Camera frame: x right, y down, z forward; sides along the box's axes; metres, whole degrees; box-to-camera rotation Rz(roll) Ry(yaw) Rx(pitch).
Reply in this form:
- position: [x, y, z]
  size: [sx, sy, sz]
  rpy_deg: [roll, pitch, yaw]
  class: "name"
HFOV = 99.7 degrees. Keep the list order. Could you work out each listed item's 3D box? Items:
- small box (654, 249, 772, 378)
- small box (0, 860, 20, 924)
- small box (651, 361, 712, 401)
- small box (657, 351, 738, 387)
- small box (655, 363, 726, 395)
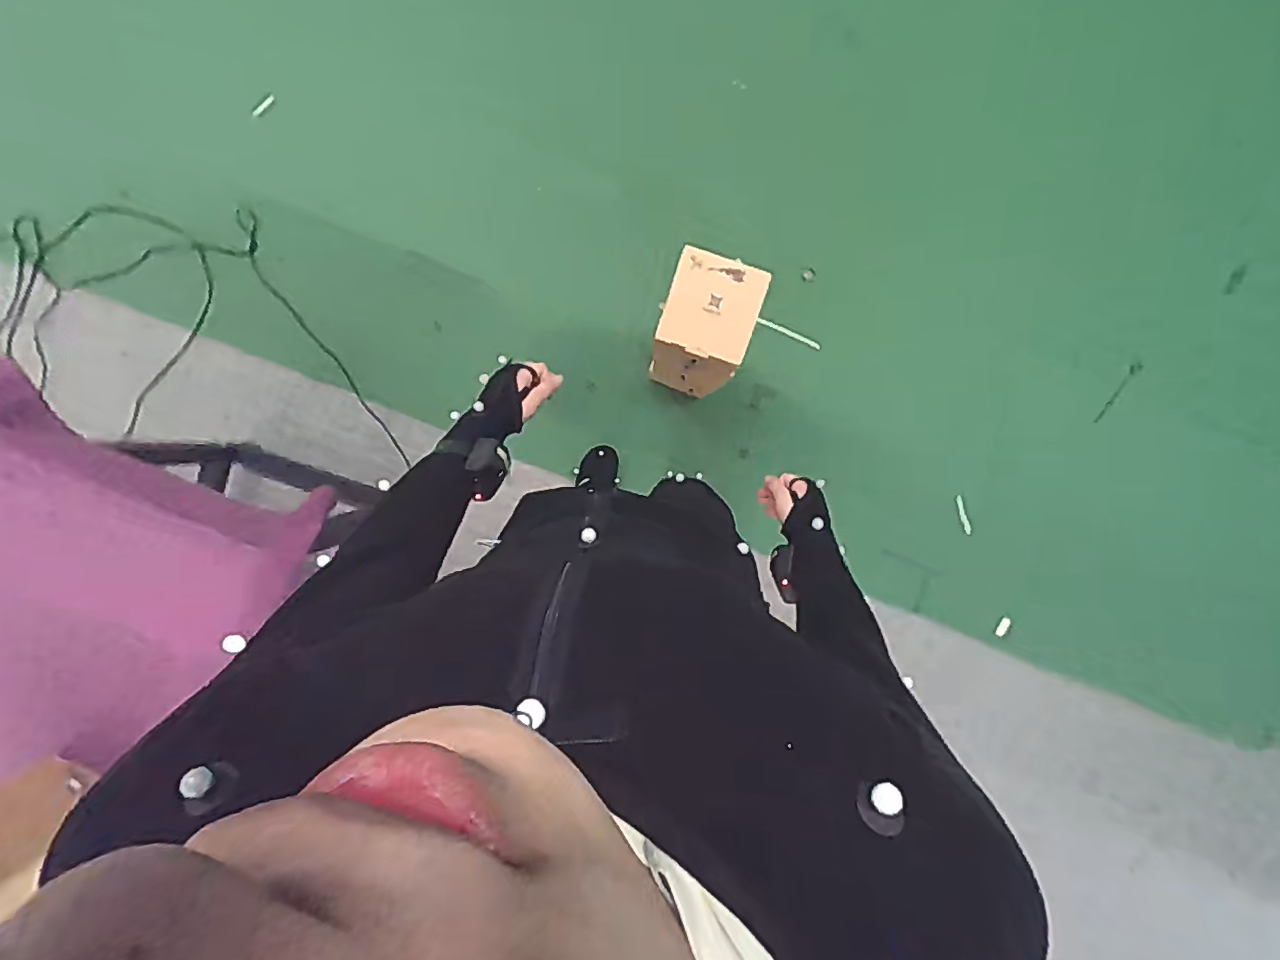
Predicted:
- position: [0.134, -0.306, 1.040]
  size: [0.168, 0.176, 0.179]
  rpy_deg: [19, 94, 0]
  class: "small box"
- position: [-0.997, 0.603, 0.707]
  size: [0.168, 0.176, 0.179]
  rpy_deg: [26, 93, 0]
  class: "small box"
- position: [0.140, -0.330, 1.530]
  size: [0.179, 0.176, 0.168]
  rpy_deg: [22, 93, -1]
  class: "small box"
- position: [0.142, -0.313, 1.204]
  size: [0.179, 0.176, 0.168]
  rpy_deg: [17, 94, -1]
  class: "small box"
- position: [0.146, -0.320, 1.368]
  size: [0.179, 0.176, 0.168]
  rpy_deg: [19, 94, 1]
  class: "small box"
